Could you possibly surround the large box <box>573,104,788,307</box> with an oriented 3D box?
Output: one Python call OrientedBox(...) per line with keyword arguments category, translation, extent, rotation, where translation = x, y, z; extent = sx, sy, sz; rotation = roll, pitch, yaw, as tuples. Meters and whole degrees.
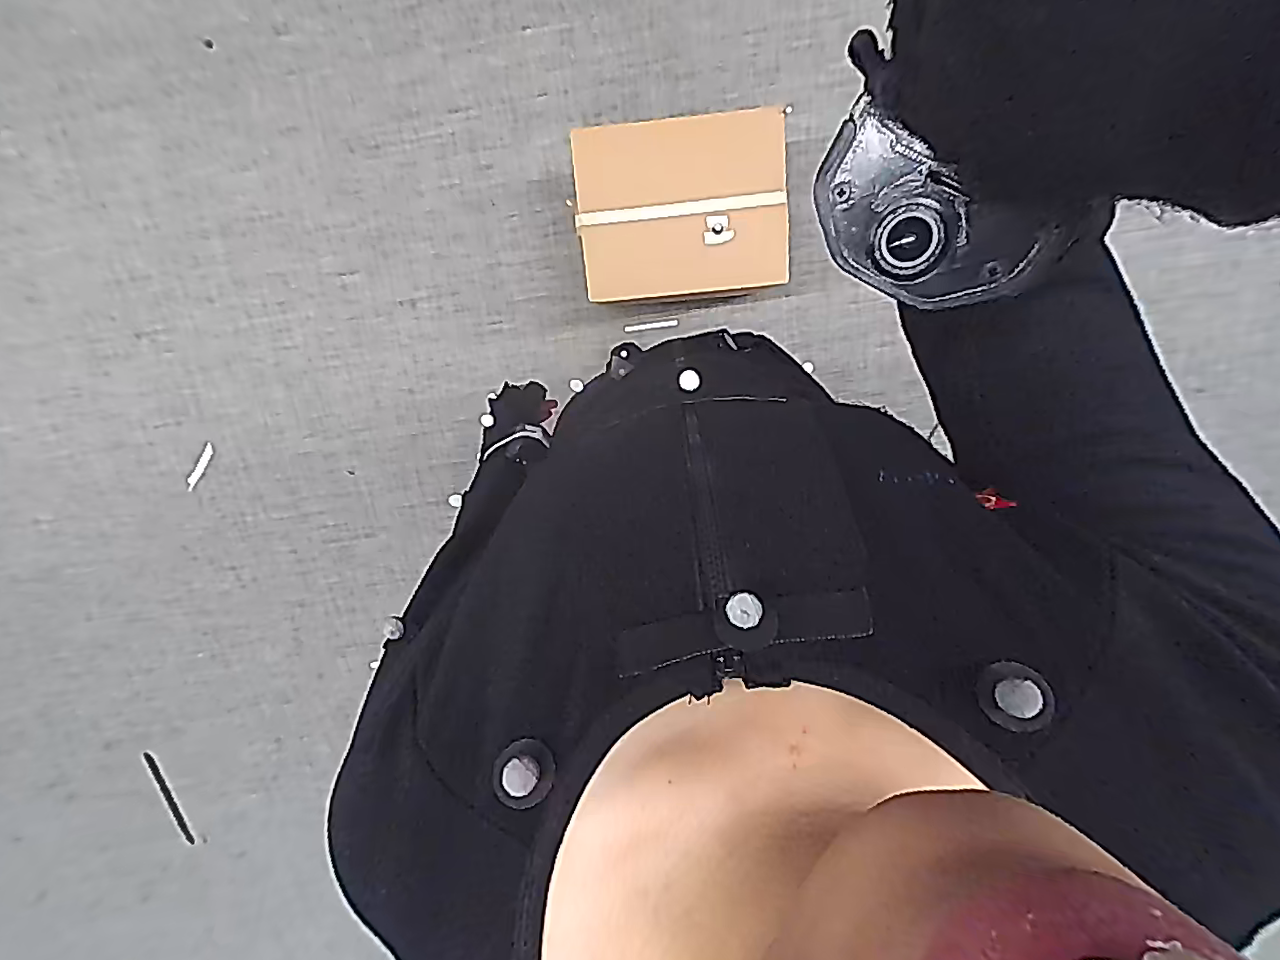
OrientedBox(category="large box", translation=(0.084, -0.572, 1.196), extent=(0.408, 0.320, 0.320), rotation=(-5, 106, 2))
